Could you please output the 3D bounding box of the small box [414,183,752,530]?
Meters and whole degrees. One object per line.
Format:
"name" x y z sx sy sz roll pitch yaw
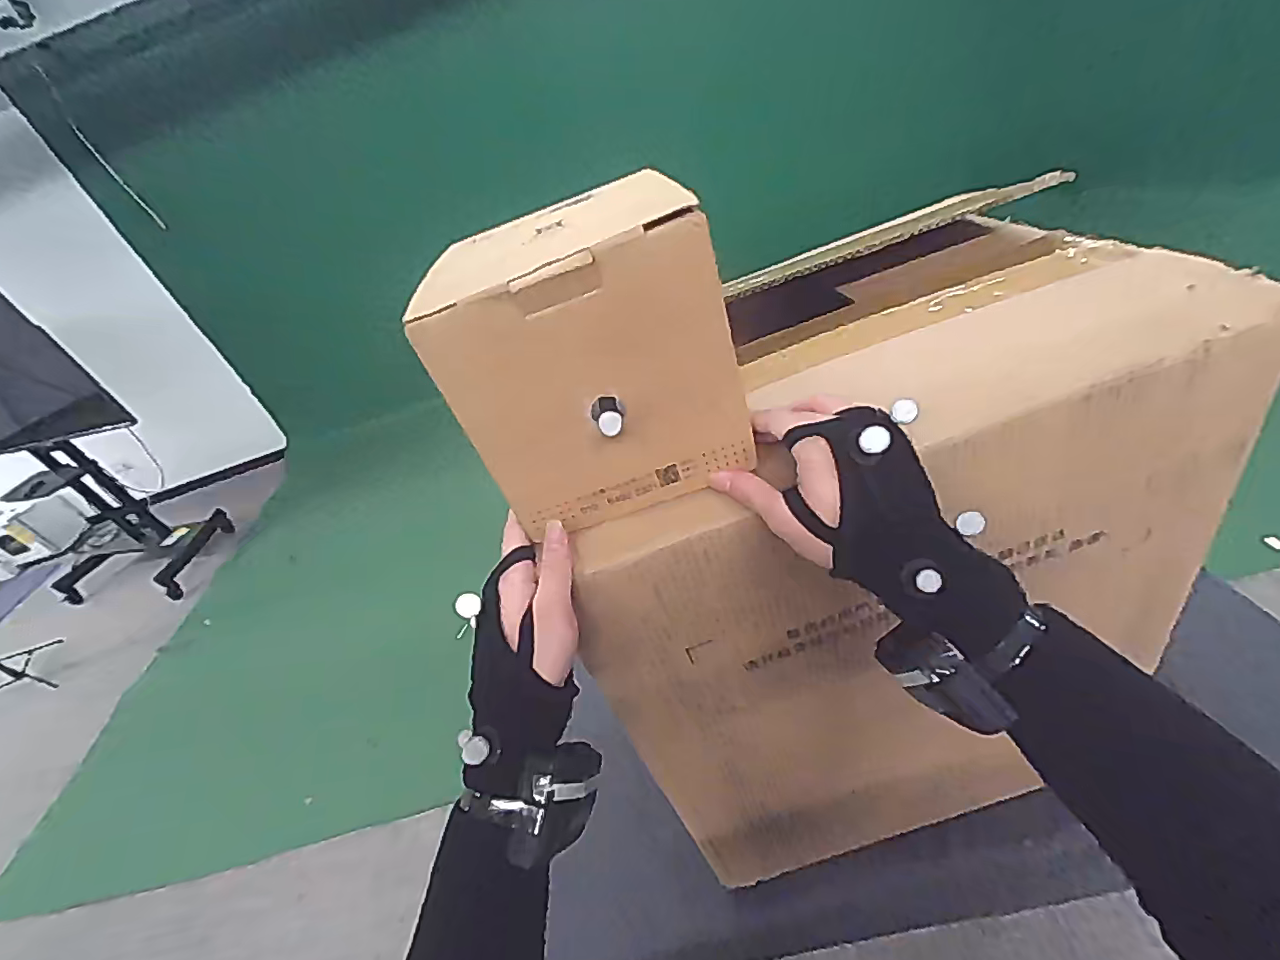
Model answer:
"small box" -0.031 -0.085 0.390 0.168 0.176 0.179 -19 36 3
